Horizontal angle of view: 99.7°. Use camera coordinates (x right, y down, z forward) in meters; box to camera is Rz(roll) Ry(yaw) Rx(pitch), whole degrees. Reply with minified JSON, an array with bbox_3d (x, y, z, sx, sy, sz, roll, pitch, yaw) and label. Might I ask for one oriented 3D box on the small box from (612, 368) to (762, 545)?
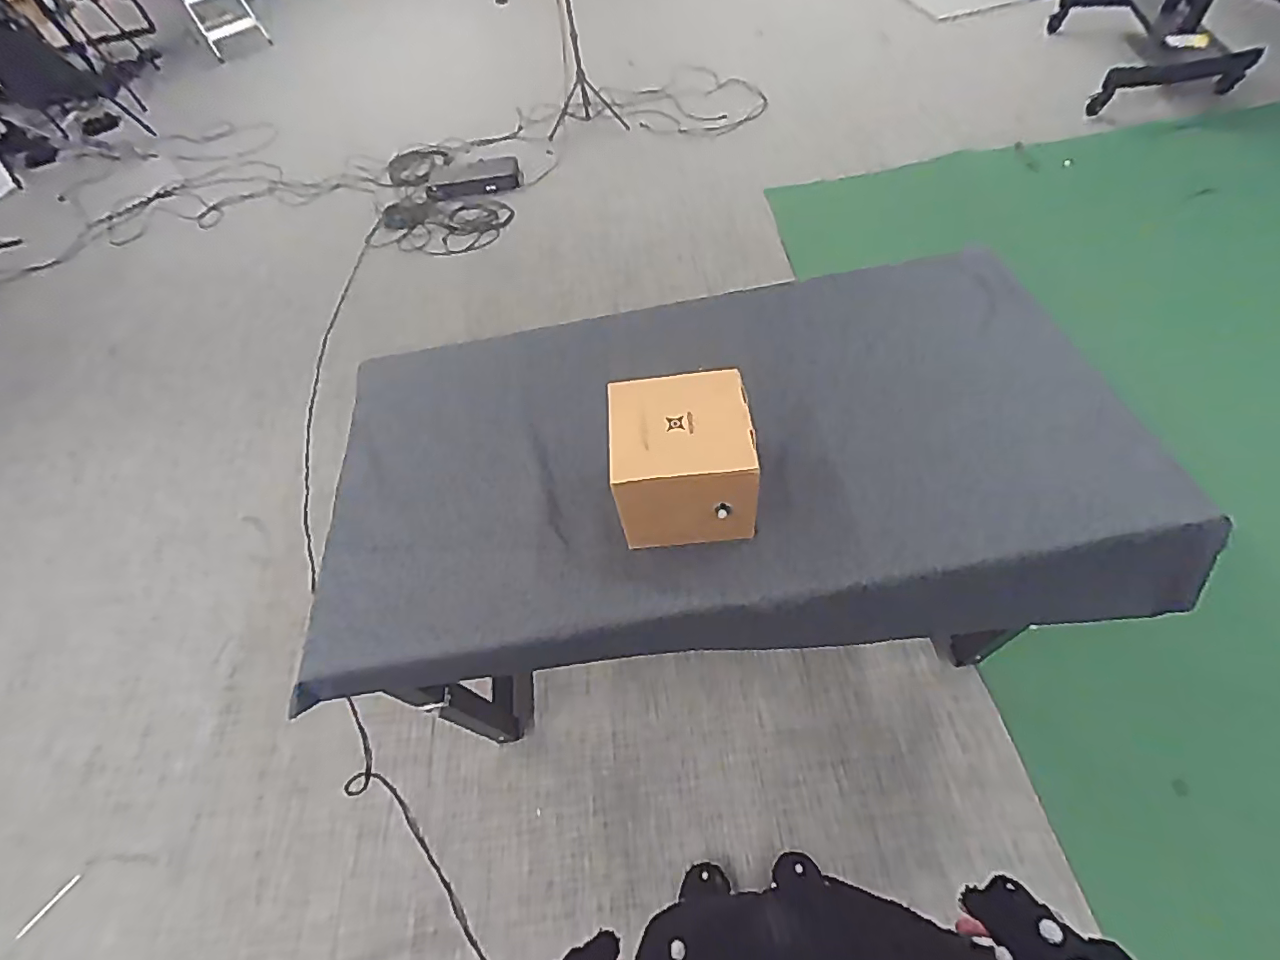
[{"bbox_3d":[0.062,-0.026,0.737,0.179,0.176,0.168,-7,54,5],"label":"small box"}]
